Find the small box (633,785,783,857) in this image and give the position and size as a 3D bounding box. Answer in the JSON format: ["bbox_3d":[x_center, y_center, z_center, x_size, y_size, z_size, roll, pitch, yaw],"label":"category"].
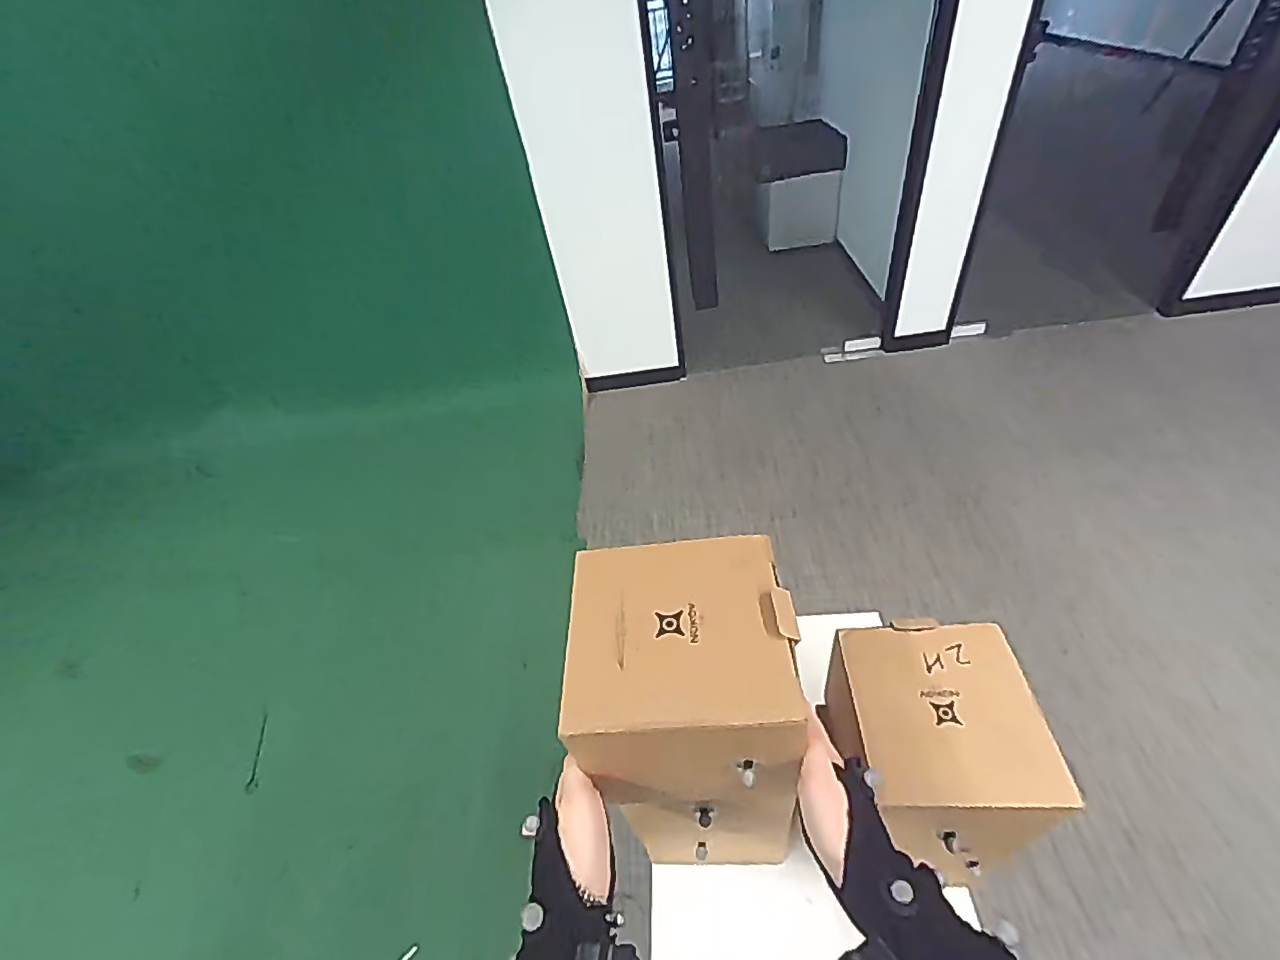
[{"bbox_3d":[0.090,0.395,0.730,0.179,0.176,0.168,-4,45,6],"label":"small box"}]

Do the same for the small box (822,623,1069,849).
[{"bbox_3d":[0.297,0.274,0.575,0.168,0.176,0.179,-4,44,8],"label":"small box"}]

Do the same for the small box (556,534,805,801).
[{"bbox_3d":[0.038,0.170,0.483,0.179,0.176,0.168,-7,44,7],"label":"small box"}]
